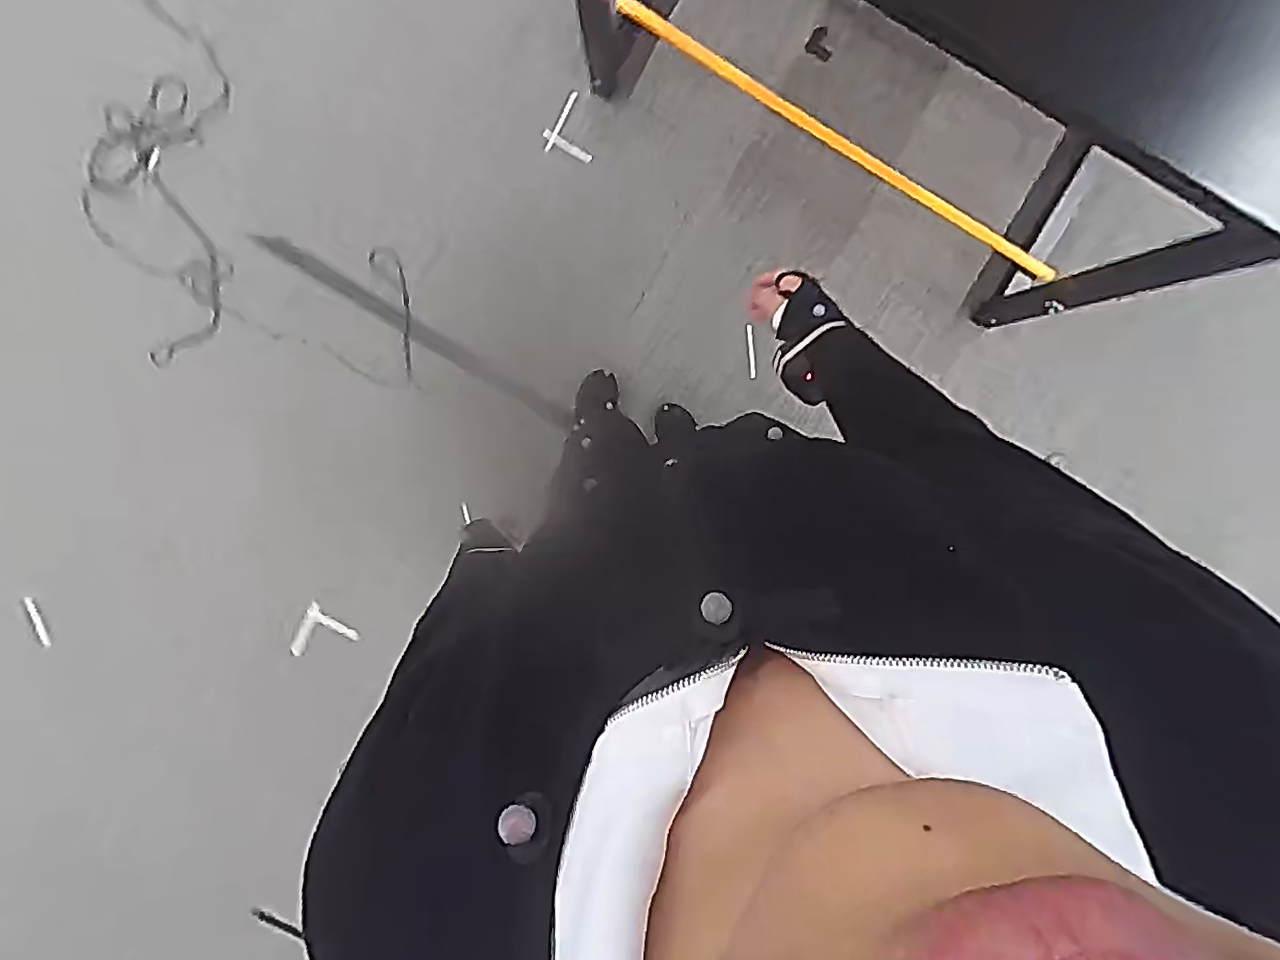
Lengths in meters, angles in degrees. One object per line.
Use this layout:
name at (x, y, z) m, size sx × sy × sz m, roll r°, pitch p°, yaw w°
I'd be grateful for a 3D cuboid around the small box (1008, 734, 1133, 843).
small box at (1.184, 0.845, 1.504) m, size 0.179 × 0.176 × 0.168 m, roll 31°, pitch 98°, yaw -2°
